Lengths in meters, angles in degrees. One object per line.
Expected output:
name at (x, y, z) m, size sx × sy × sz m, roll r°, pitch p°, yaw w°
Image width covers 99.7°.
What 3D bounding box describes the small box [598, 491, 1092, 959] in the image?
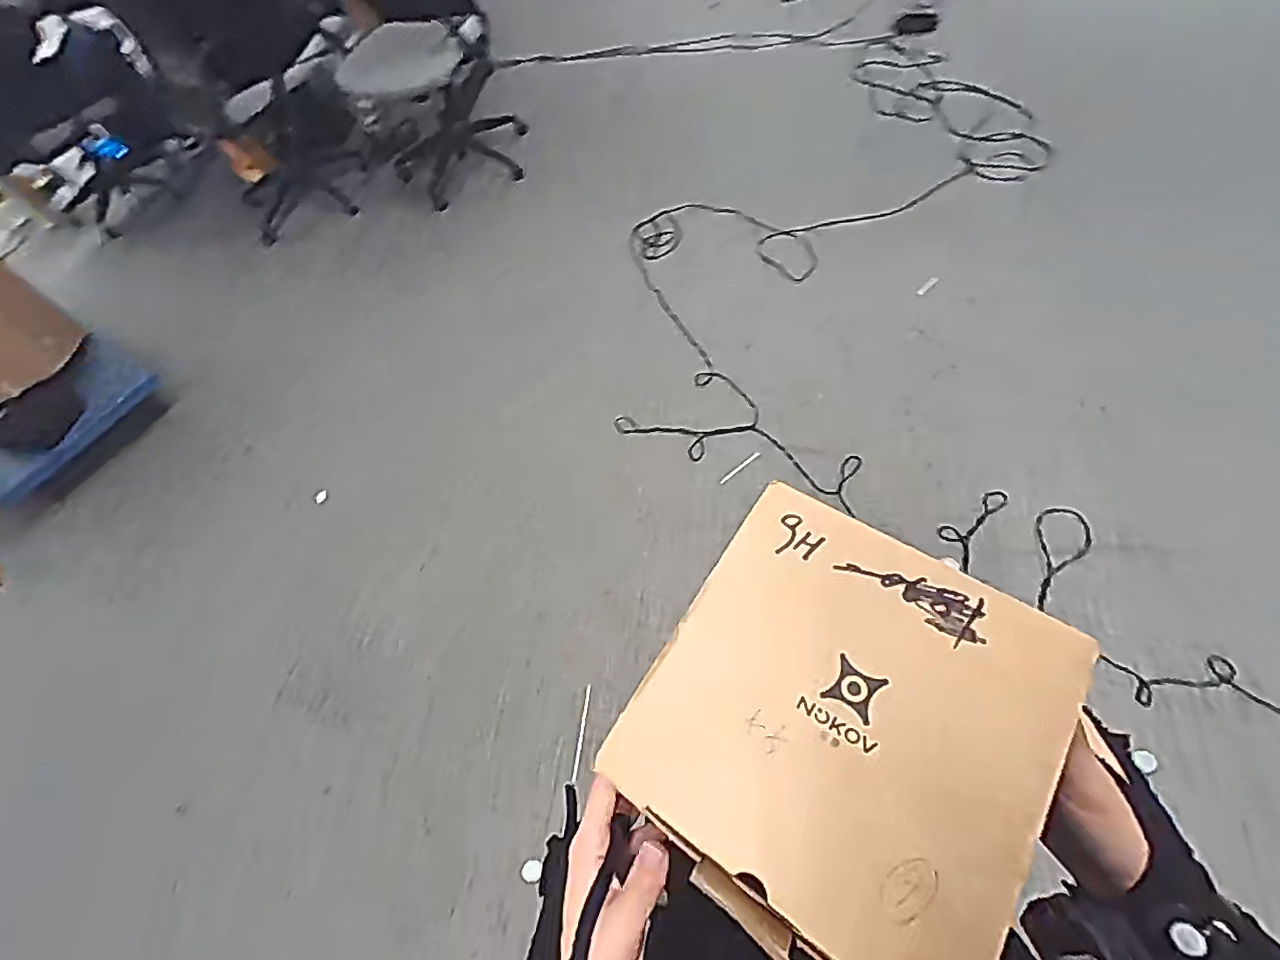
small box at (0.105, 0.144, 0.321) m, size 0.168 × 0.176 × 0.179 m, roll 30°, pitch 71°, yaw 22°
